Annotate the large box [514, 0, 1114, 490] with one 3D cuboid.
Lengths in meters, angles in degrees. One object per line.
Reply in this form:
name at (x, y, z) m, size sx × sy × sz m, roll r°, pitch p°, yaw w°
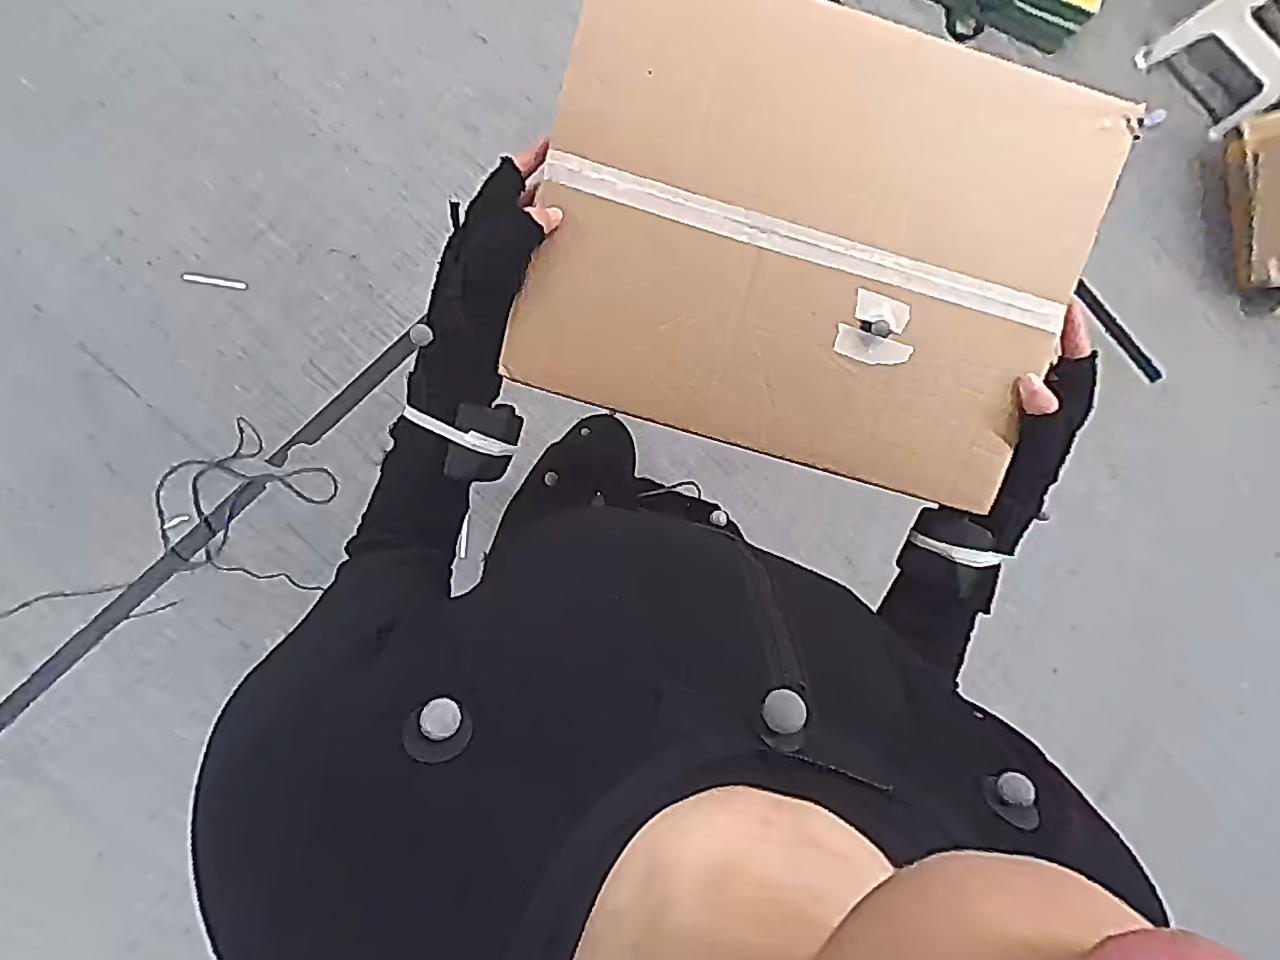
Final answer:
large box at (0.123, -0.208, 0.563) m, size 0.408 × 0.320 × 0.320 m, roll 16°, pitch 100°, yaw -4°
